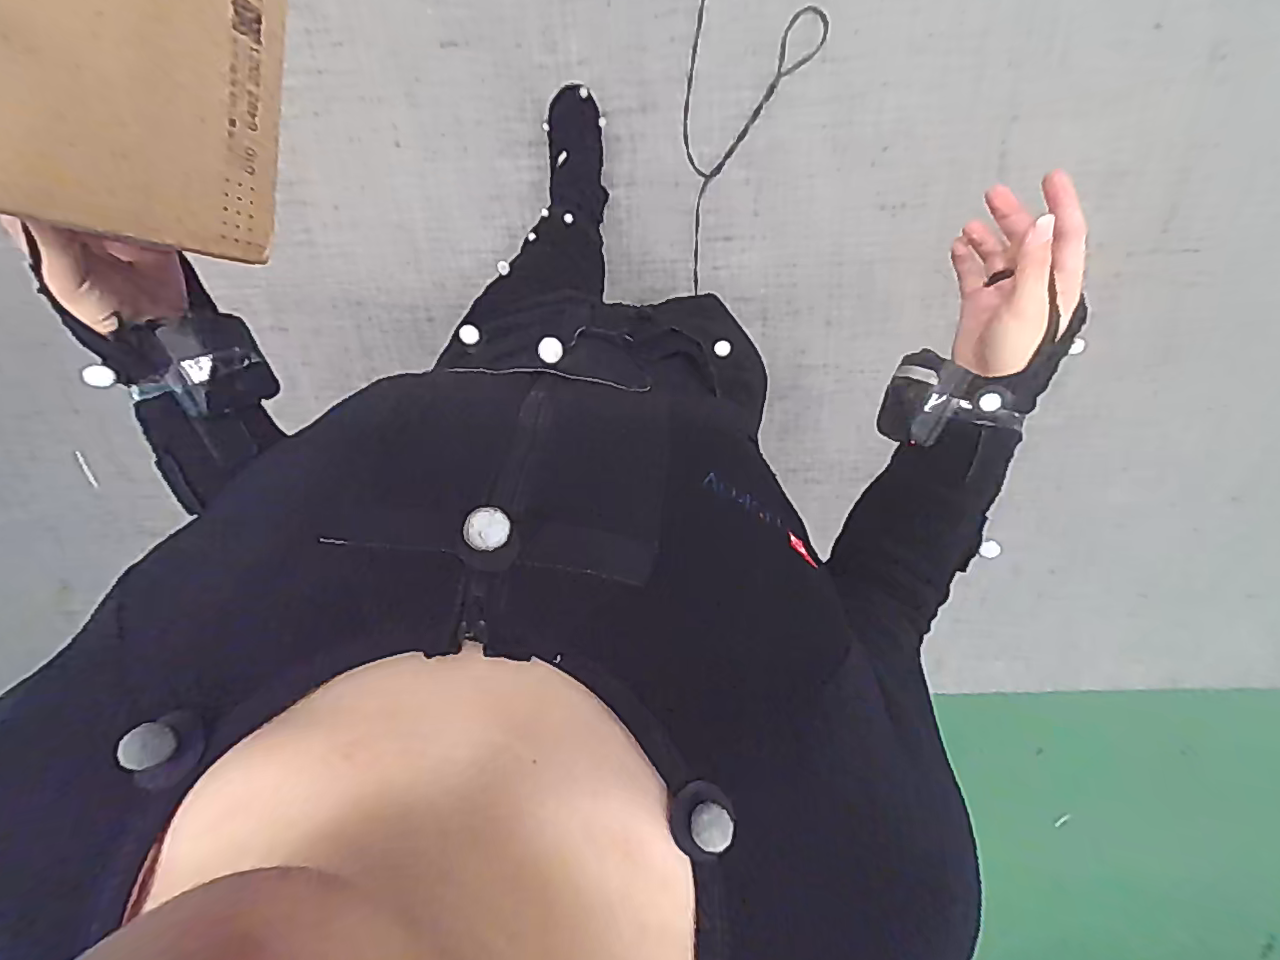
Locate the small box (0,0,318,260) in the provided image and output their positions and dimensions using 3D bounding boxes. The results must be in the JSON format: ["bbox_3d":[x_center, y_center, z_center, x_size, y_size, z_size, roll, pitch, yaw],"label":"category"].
[{"bbox_3d":[-0.266,-0.196,0.208,0.179,0.176,0.168,15,105,9],"label":"small box"}]
